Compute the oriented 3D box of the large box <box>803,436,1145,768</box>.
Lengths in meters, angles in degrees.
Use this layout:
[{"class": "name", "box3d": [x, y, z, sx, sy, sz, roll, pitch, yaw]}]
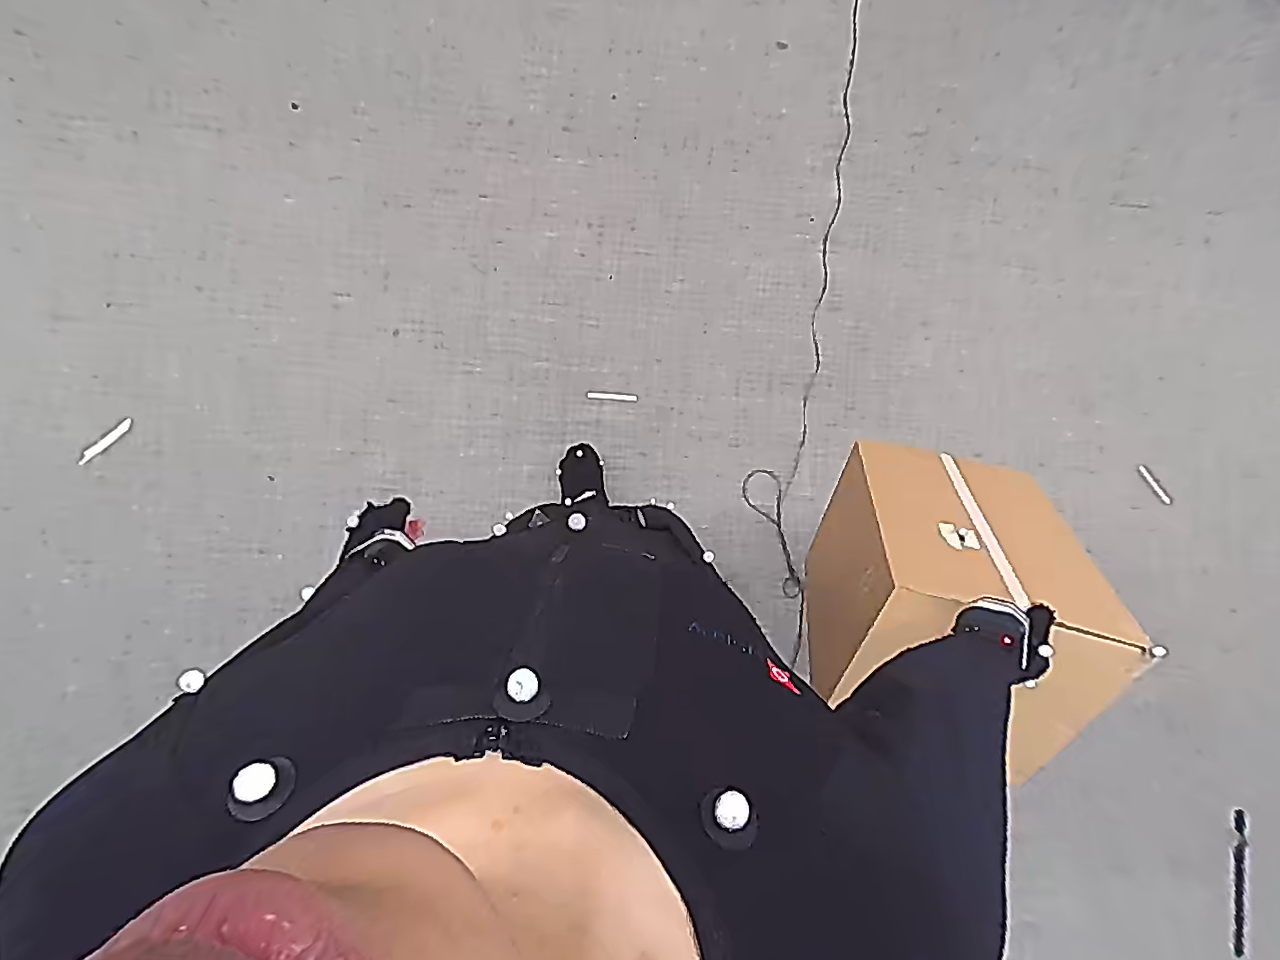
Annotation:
[{"class": "large box", "box3d": [0.485, 0.183, 0.916, 0.320, 0.408, 0.320, 14, 125, 5]}]
